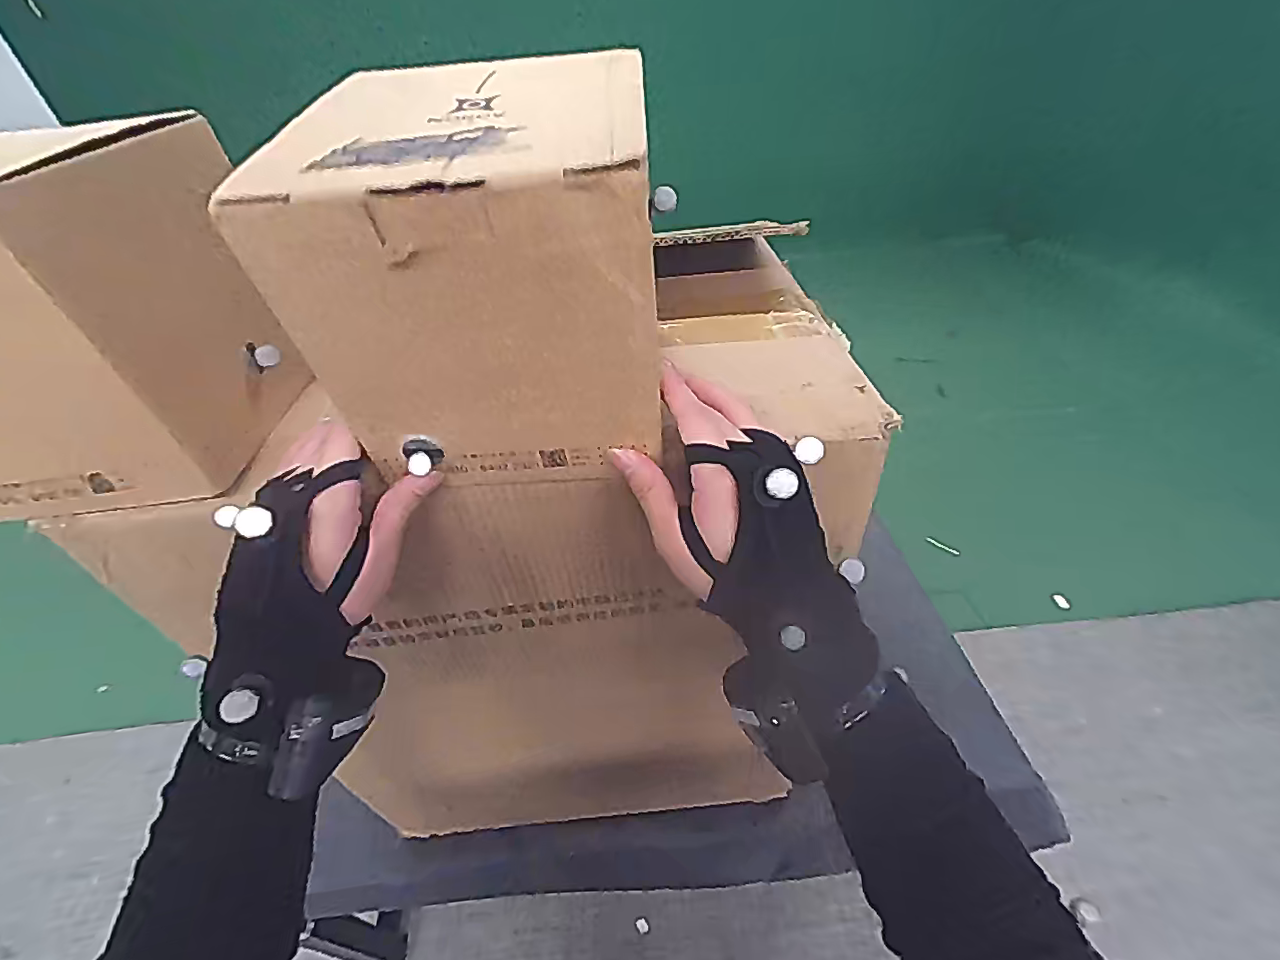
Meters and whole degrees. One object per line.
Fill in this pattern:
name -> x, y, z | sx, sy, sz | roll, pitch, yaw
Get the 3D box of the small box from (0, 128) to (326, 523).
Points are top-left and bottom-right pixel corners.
small box -> -0.333, -0.097, 0.334 | 0.168, 0.176, 0.179 | -7, 41, 3

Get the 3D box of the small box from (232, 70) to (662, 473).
small box -> -0.074, -0.115, 0.321 | 0.168, 0.176, 0.179 | -3, 46, 3
